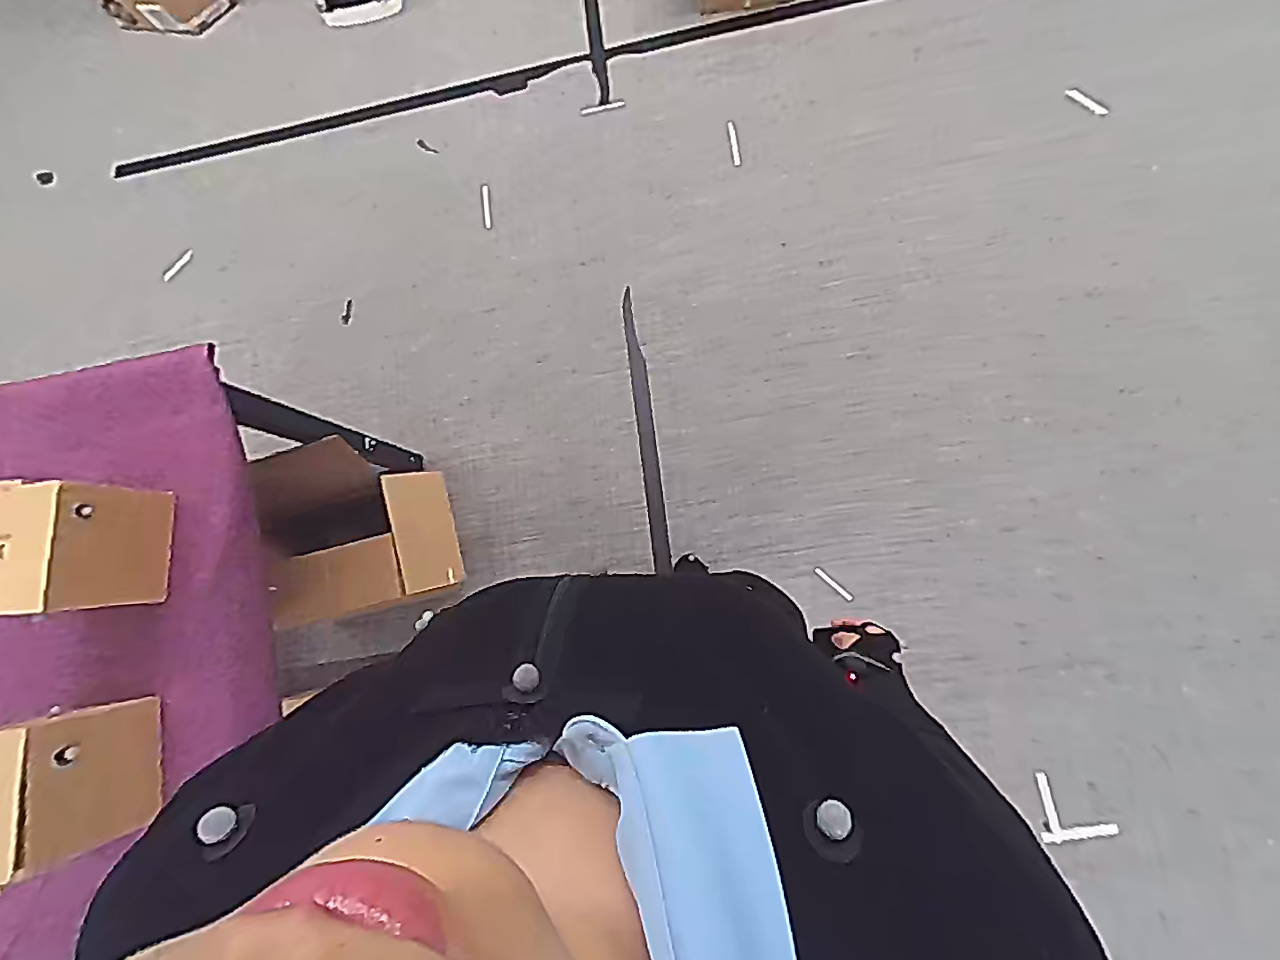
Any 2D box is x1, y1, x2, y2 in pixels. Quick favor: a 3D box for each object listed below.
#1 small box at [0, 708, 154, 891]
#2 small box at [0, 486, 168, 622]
[{"bbox_3d":[-0.808,0.421,0.731,0.168,0.176,0.179,-12,80,7],"label":"small box"},{"bbox_3d":[-0.840,0.109,0.786,0.168,0.176,0.179,-4,80,6],"label":"small box"}]
